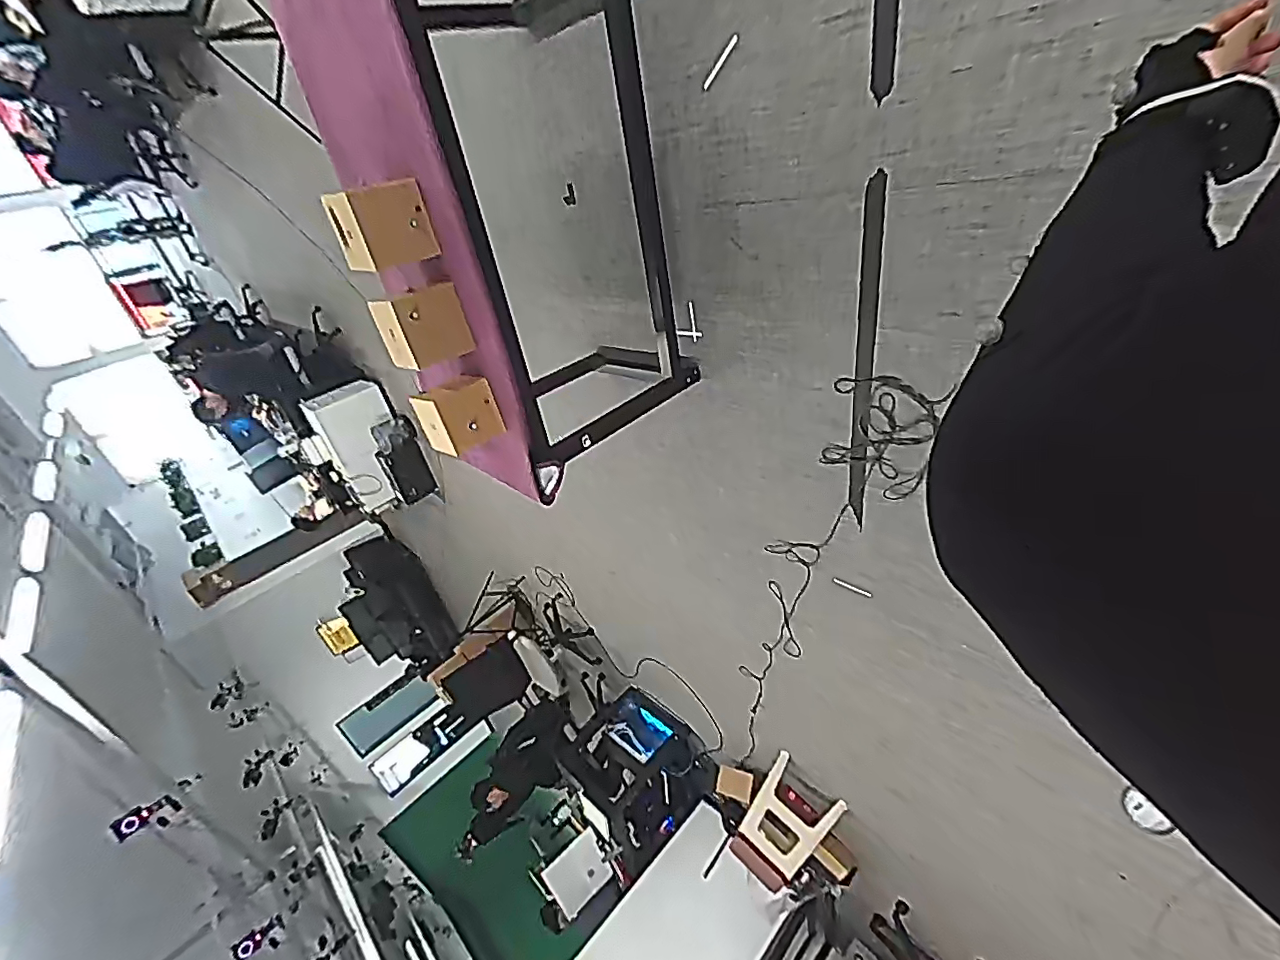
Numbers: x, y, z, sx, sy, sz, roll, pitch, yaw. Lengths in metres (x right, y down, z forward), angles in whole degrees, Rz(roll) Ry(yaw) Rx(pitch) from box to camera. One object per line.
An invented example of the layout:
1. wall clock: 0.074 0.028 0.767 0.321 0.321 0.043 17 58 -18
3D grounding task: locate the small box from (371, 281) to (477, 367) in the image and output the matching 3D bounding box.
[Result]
1. small box: -0.554 -0.409 1.398 0.168 0.176 0.179 19 132 45

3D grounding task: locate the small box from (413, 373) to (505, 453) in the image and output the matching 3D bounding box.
1. small box: -0.505 -0.196 1.533 0.179 0.176 0.168 15 130 47
